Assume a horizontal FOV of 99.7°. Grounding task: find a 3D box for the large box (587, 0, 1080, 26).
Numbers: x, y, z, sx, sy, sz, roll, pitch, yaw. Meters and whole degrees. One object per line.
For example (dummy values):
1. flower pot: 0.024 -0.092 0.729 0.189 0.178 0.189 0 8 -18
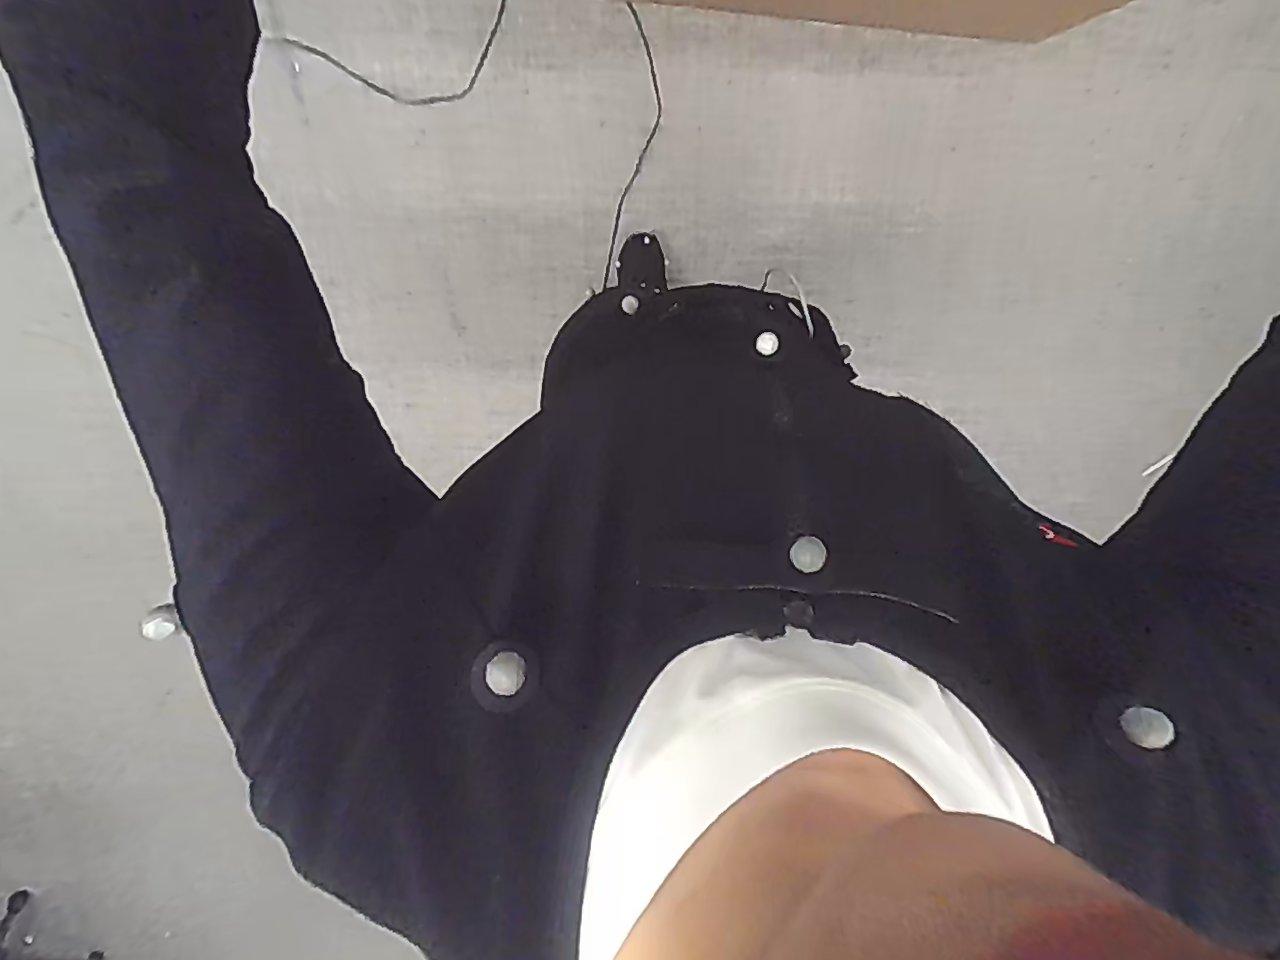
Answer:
1. large box: 0.138 -0.462 0.254 0.408 0.320 0.320 4 117 0
